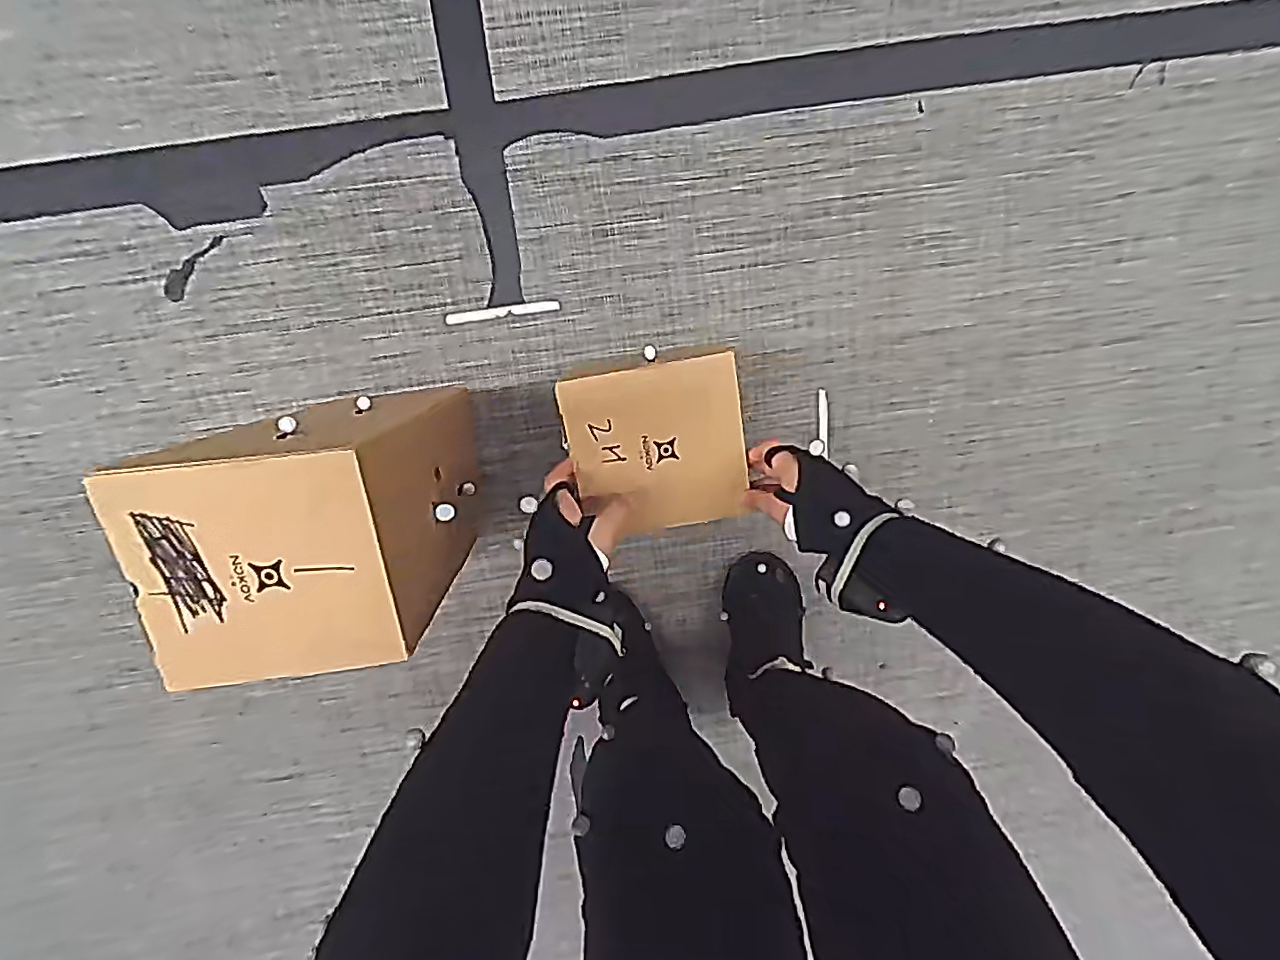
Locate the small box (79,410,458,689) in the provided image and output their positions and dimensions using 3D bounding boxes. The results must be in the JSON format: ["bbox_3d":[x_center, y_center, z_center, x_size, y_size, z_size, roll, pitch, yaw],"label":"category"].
[{"bbox_3d":[-0.269,0.041,0.443,0.179,0.176,0.168,-6,107,-3],"label":"small box"}]

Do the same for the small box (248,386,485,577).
[{"bbox_3d":[-0.281,-0.001,0.603,0.168,0.176,0.179,-6,108,-2],"label":"small box"}]

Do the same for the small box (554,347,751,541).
[{"bbox_3d":[0.012,-0.051,0.601,0.179,0.176,0.168,-10,106,0],"label":"small box"}]
